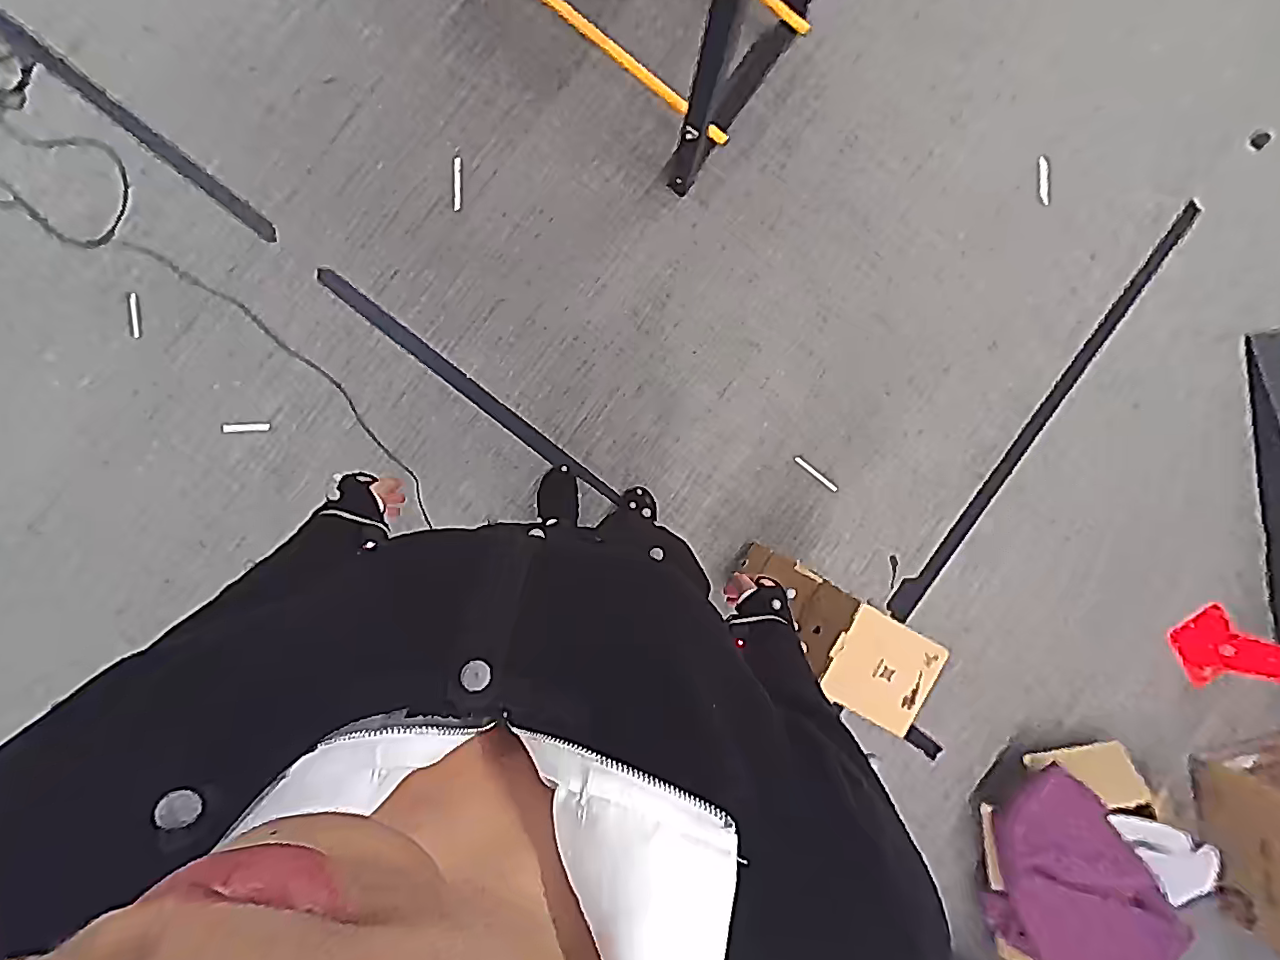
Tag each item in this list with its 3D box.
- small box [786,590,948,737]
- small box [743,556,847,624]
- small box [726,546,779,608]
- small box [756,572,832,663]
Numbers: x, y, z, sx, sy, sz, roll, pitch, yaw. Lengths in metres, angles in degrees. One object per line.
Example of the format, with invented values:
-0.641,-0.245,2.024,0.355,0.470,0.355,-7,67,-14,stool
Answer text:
0.390,0.311,0.964,0.179,0.176,0.168,30,88,-3,small box
0.368,0.300,1.292,0.168,0.176,0.179,33,89,-4,small box
0.358,0.291,1.456,0.179,0.176,0.168,30,88,-3,small box
0.371,0.308,1.127,0.179,0.176,0.168,29,88,-4,small box
